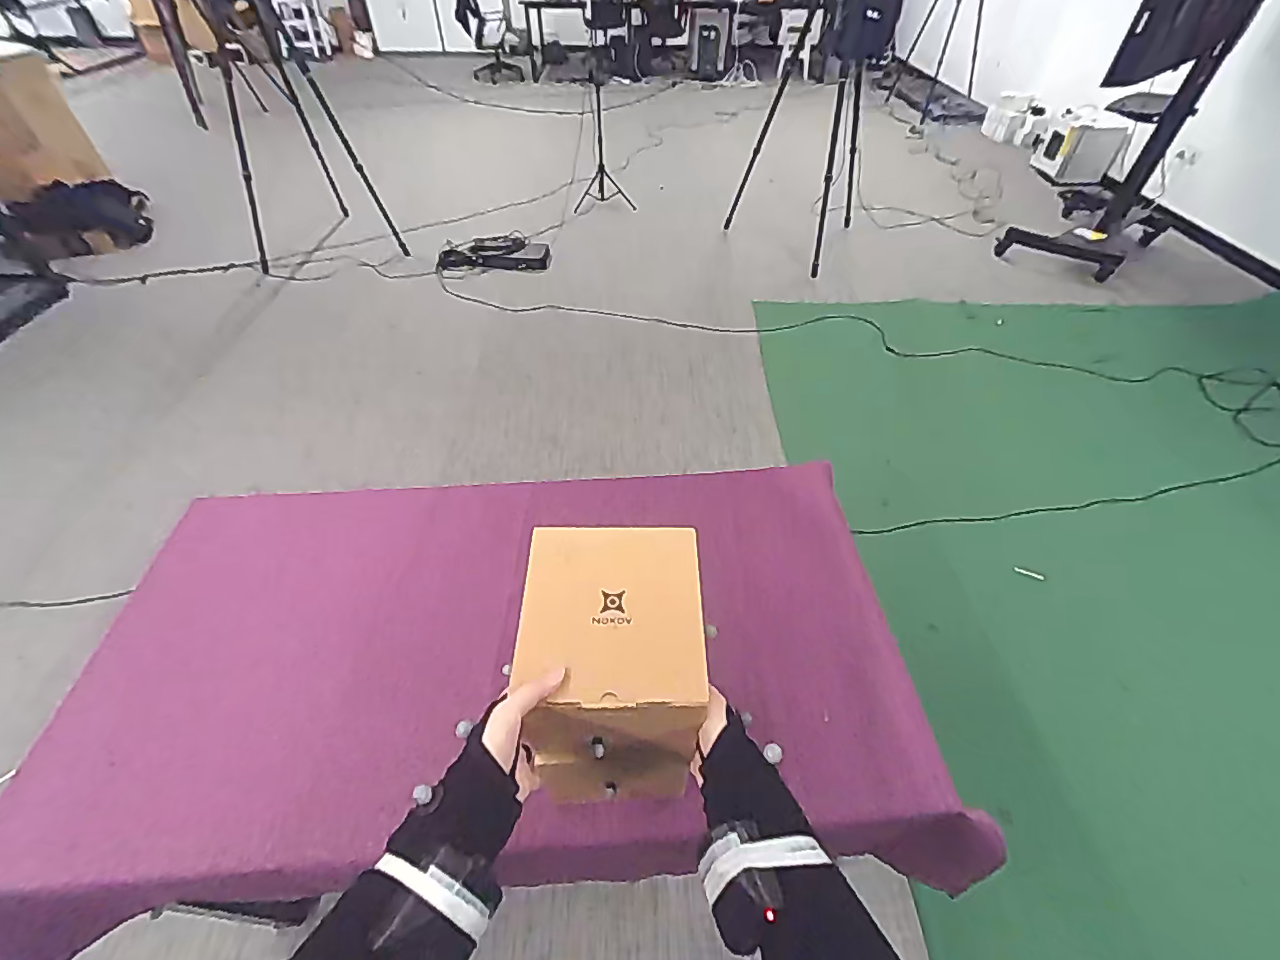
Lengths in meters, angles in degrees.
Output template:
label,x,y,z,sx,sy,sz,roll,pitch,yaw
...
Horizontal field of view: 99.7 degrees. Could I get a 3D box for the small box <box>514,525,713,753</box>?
label,x,y,z,sx,sy,sz,roll,pitch,yaw
small box,-0.025,0.164,0.552,0.168,0.176,0.179,0,52,-1

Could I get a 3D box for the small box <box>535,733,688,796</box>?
label,x,y,z,sx,sy,sz,roll,pitch,yaw
small box,-0.031,0.284,0.679,0.168,0.176,0.179,-2,47,-2
